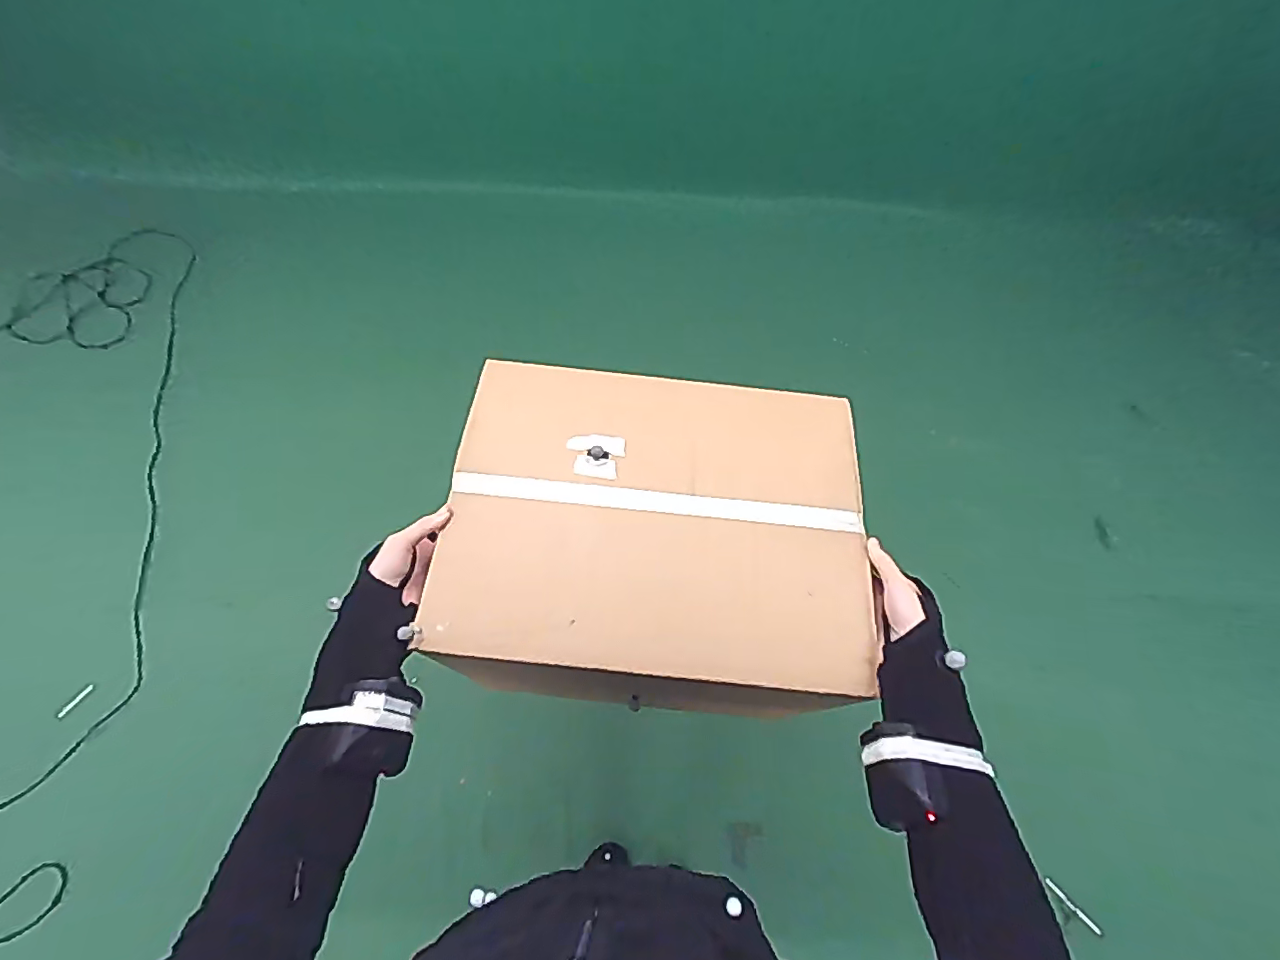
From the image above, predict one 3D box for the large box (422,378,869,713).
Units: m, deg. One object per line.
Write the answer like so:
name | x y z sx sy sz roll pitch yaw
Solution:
large box | 0.013 0.103 0.673 0.408 0.320 0.320 6 62 1
